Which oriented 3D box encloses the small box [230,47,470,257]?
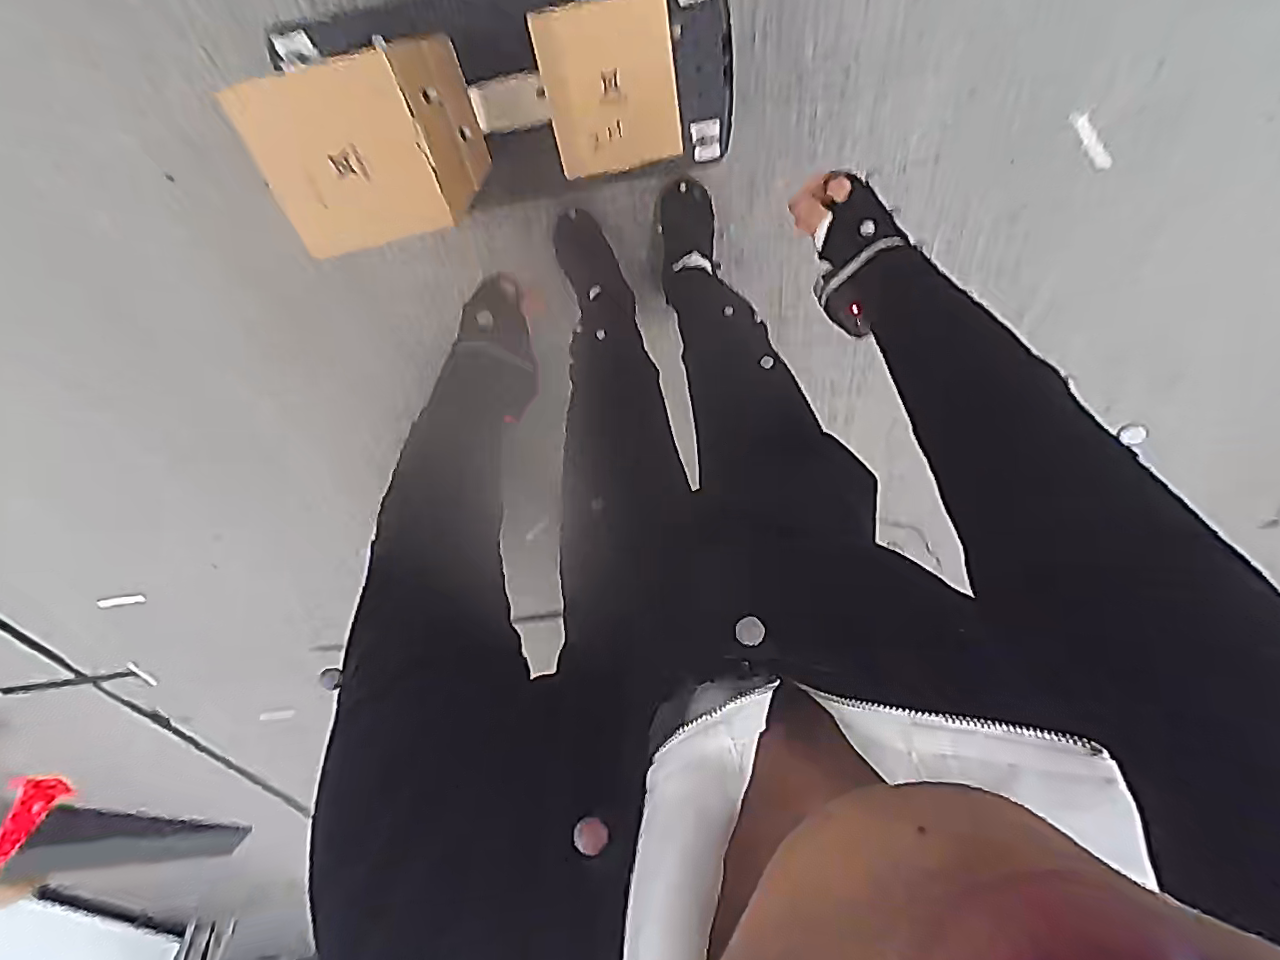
[{"bbox_3d":[-0.315,-0.390,0.640,0.179,0.176,0.168,-12,130,4],"label":"small box"}]

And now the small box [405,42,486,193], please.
[{"bbox_3d":[-0.329,-0.497,0.763,0.179,0.176,0.168,-11,131,4],"label":"small box"}]

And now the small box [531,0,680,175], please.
[{"bbox_3d":[-0.043,-0.549,0.748,0.168,0.176,0.179,-9,131,4],"label":"small box"}]
